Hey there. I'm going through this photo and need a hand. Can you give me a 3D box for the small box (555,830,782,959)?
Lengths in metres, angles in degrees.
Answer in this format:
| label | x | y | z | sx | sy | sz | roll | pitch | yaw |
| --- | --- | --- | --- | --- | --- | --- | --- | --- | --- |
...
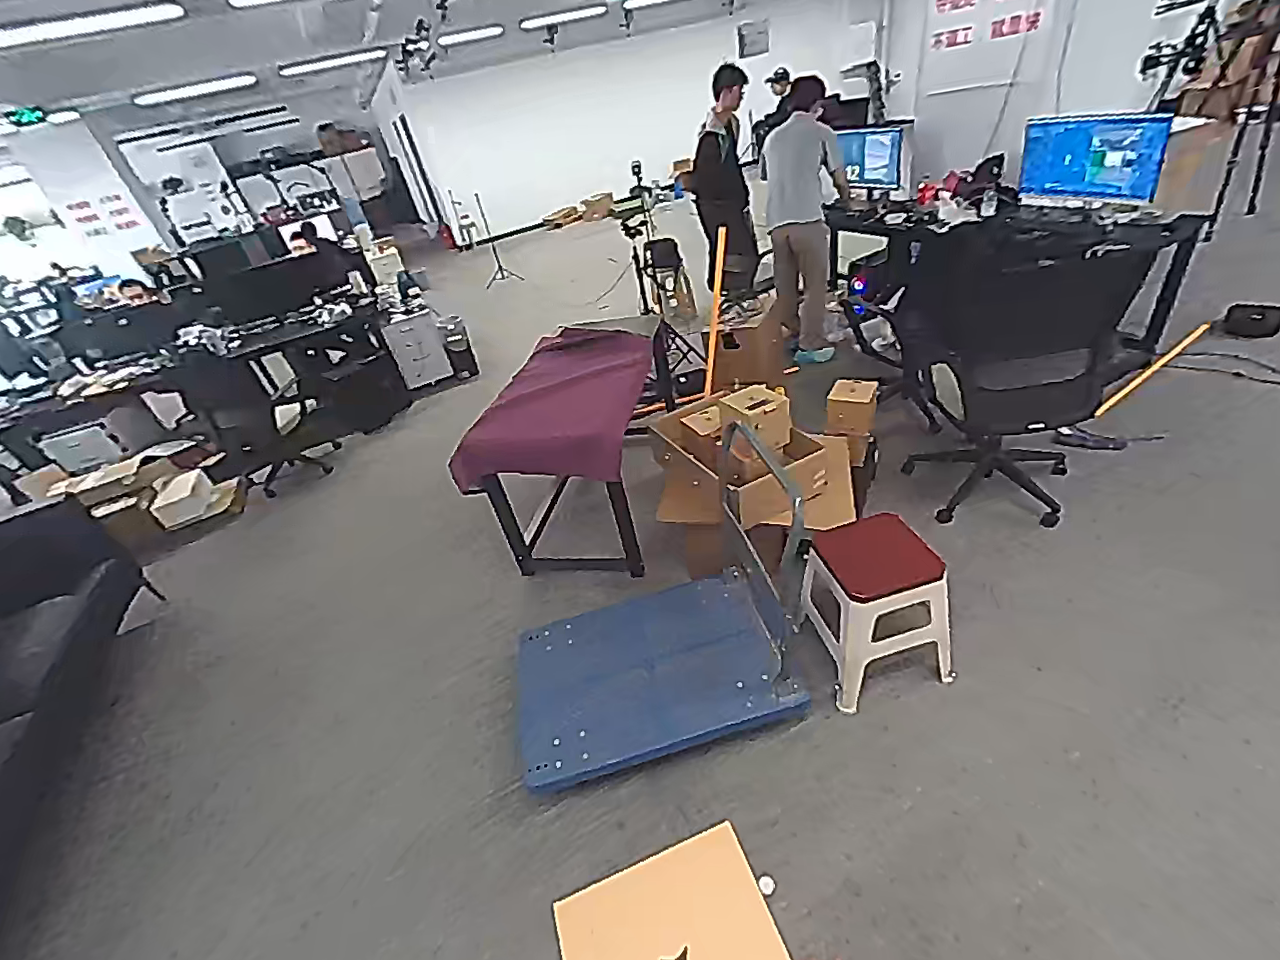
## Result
| label | x | y | z | sx | sy | sz | roll | pitch | yaw |
| --- | --- | --- | --- | --- | --- | --- | --- | --- | --- |
| small box | 0.039 | 0.447 | 0.456 | 0.168 | 0.176 | 0.179 | -19 | 39 | -9 |
